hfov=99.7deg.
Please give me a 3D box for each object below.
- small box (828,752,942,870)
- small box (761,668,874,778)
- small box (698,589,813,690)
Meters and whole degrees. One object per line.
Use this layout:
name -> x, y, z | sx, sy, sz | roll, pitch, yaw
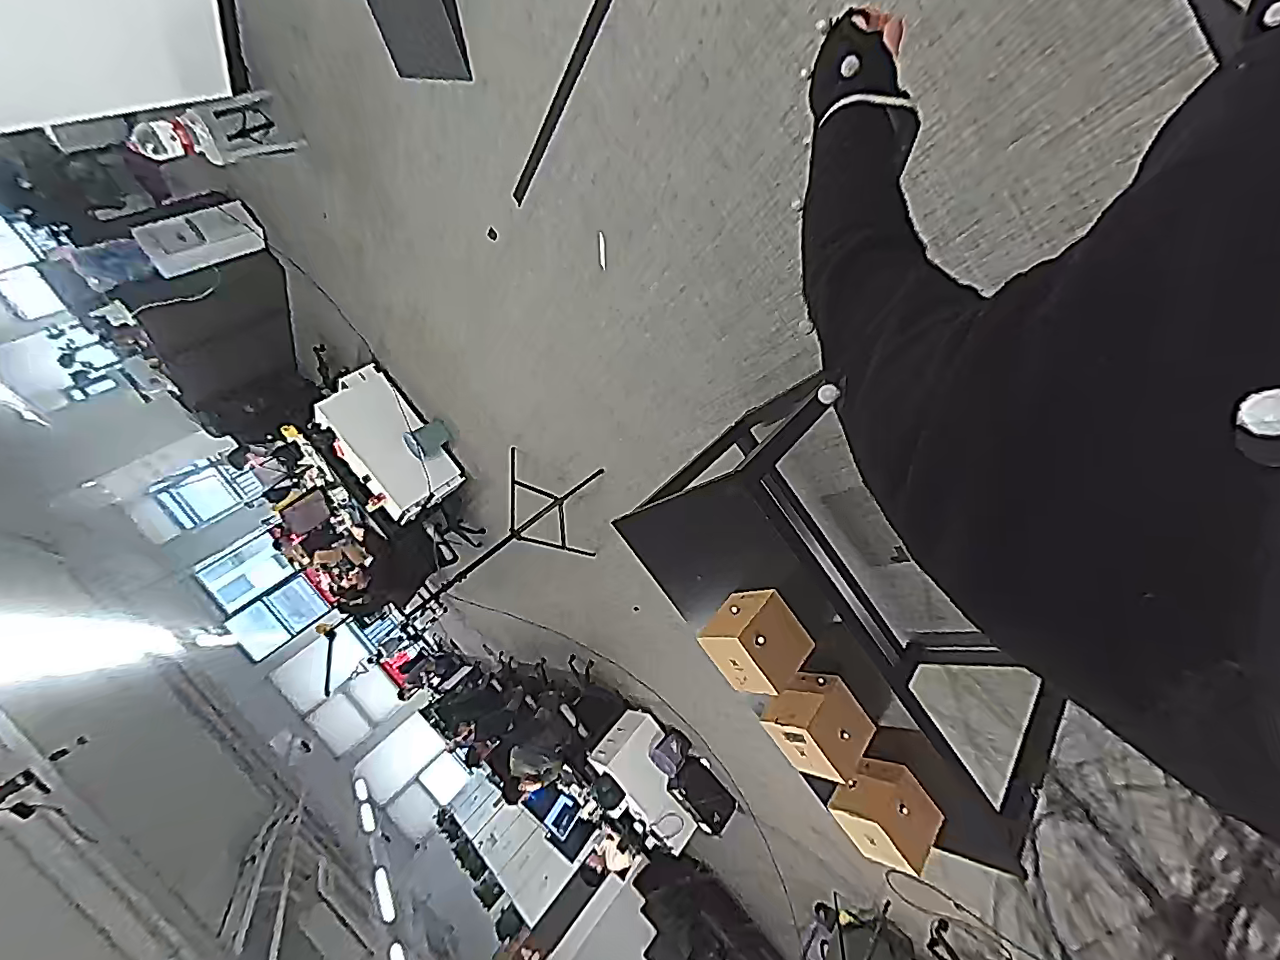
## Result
small box -> 0.625, 0.828, 1.375 | 0.179, 0.176, 0.168 | 52, 150, -4
small box -> 0.444, 0.595, 1.350 | 0.179, 0.176, 0.168 | 53, 149, -7
small box -> 0.284, 0.380, 1.321 | 0.179, 0.176, 0.168 | 53, 149, -6
